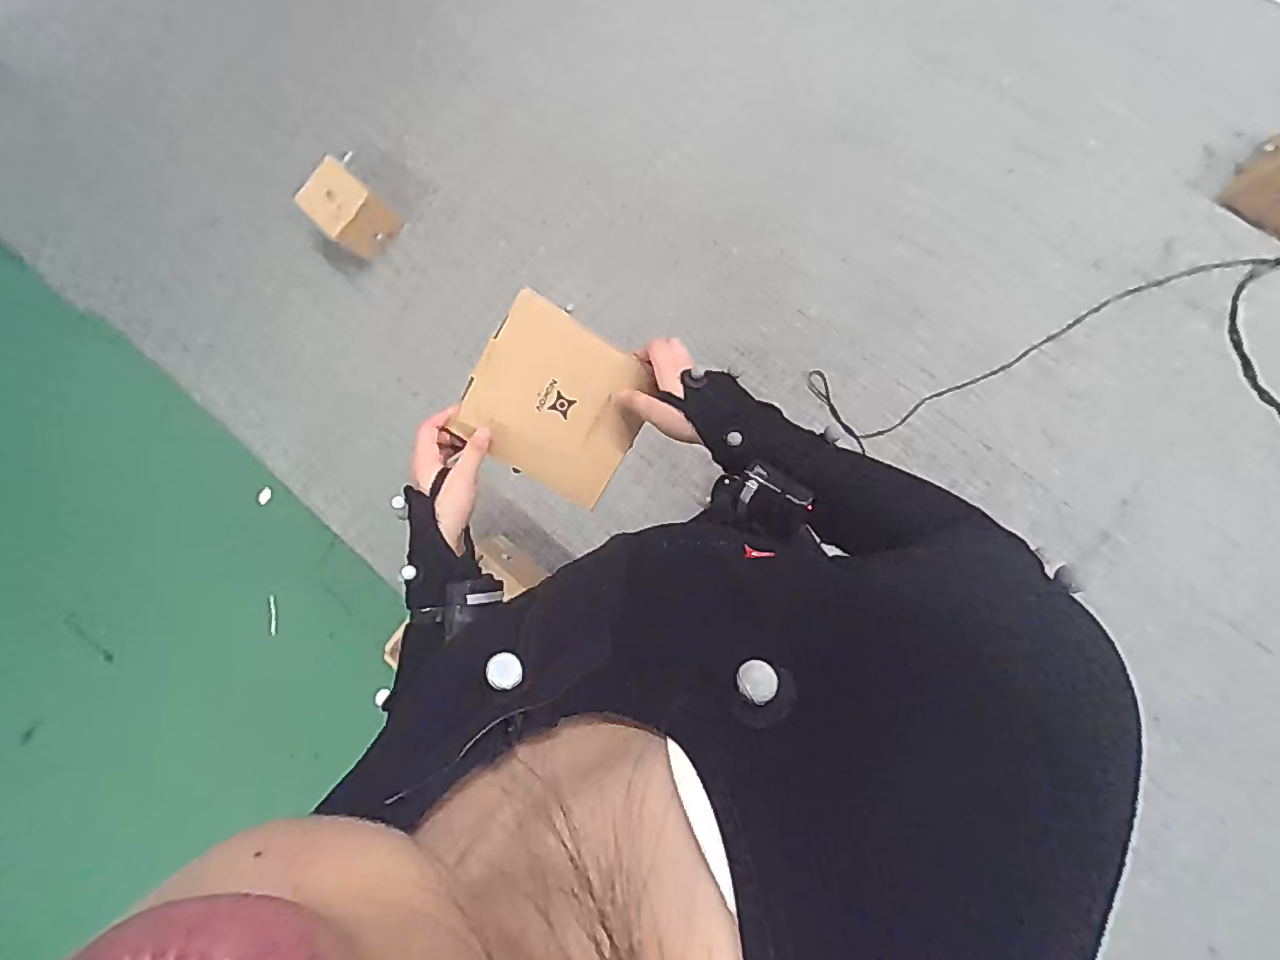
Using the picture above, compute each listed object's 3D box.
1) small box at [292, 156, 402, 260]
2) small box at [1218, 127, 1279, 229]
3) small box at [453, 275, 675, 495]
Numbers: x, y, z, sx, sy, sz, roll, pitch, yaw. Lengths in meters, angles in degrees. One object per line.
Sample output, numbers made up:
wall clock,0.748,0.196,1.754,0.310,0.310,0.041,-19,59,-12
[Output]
small box,-0.831,-0.766,1.545,0.179,0.176,0.168,44,97,6
small box,1.446,-0.682,1.171,0.179,0.176,0.168,36,96,8
small box,-0.084,-0.108,0.631,0.179,0.176,0.168,29,99,-11
